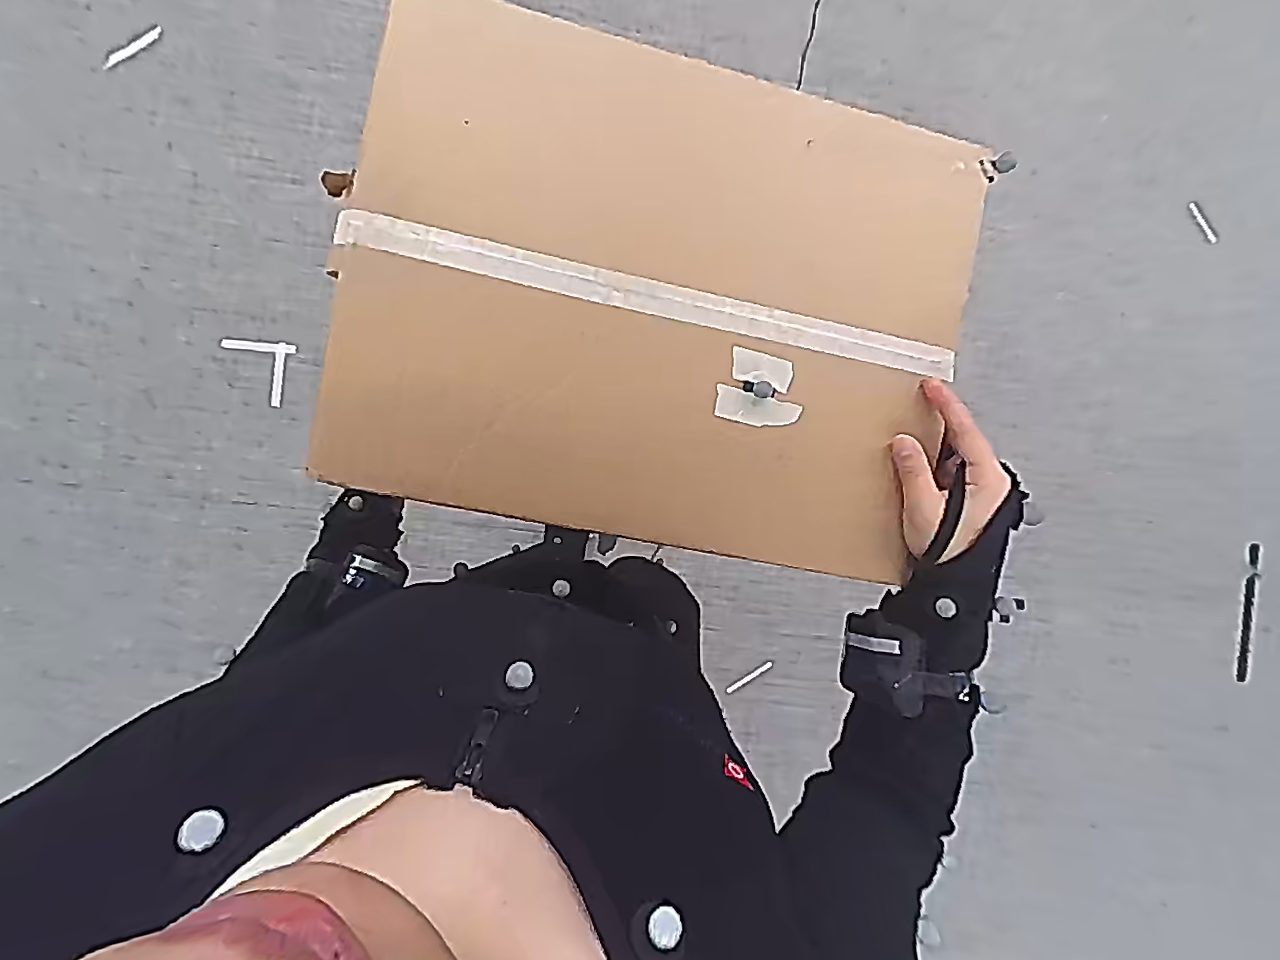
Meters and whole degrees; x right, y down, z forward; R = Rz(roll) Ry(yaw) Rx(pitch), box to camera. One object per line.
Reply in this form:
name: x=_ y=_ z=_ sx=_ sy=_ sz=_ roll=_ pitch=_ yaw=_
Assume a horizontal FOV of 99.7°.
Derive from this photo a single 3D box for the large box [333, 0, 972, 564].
large box: x=0.002 y=-0.125 z=0.512 sx=0.408 sy=0.320 sz=0.320 roll=11 pitch=92 yaw=-8
